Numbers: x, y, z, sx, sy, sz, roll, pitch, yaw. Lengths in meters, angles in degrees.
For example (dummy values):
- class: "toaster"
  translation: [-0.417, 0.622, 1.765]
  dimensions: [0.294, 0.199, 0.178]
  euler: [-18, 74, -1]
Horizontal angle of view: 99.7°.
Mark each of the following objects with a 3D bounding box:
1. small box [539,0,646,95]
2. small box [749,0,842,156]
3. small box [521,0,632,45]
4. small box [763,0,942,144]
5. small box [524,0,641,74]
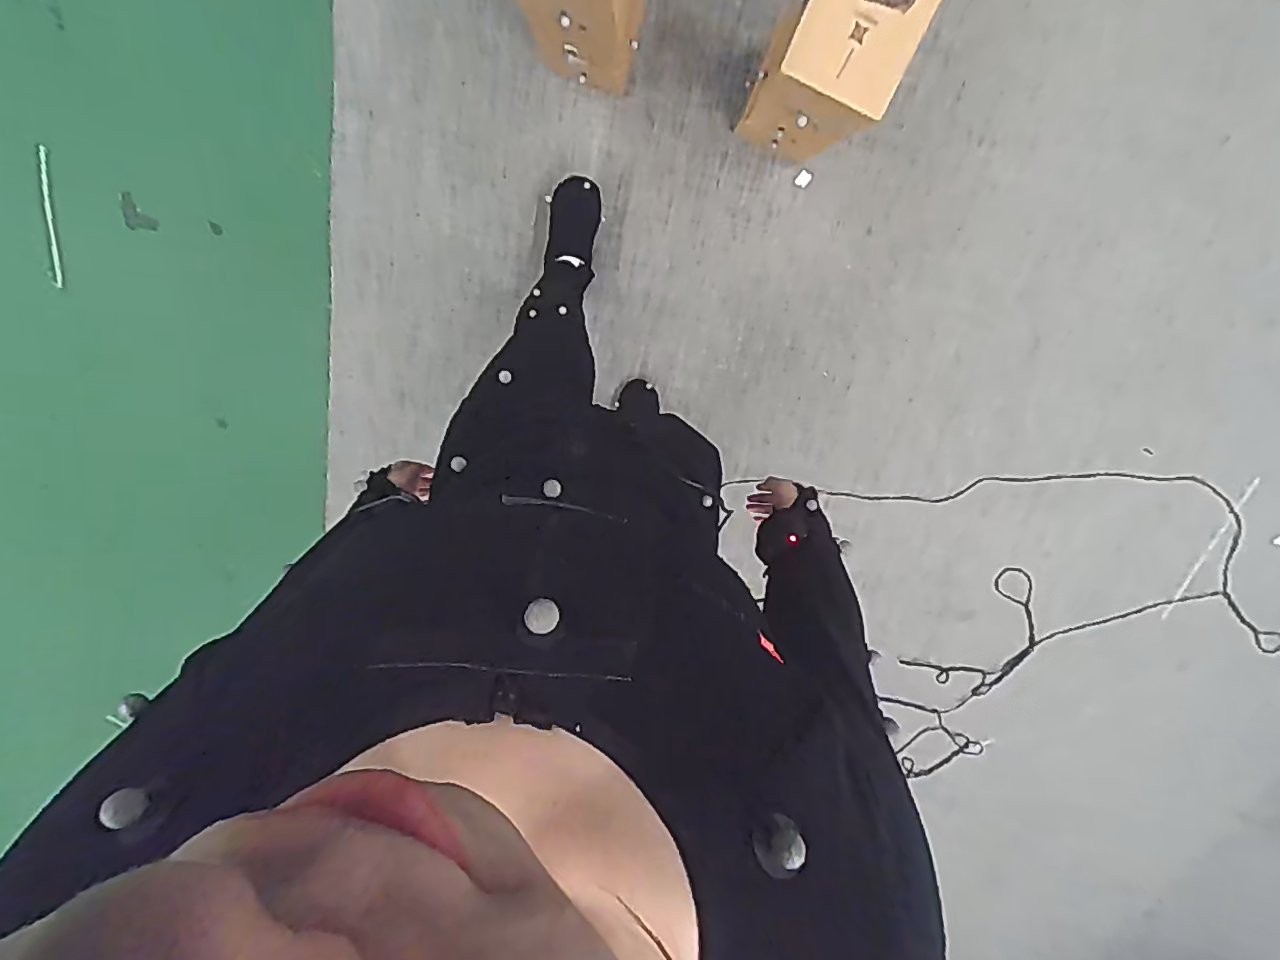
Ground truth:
- class: "small box"
  translation: [-0.087, -0.904, 1.073]
  dimensions: [0.168, 0.176, 0.179]
  euler: [17, 112, -6]
- class: "small box"
  translation: [0.310, -0.716, 0.968]
  dimensions: [0.168, 0.176, 0.179]
  euler: [20, 112, -7]
- class: "small box"
  translation: [-0.089, -0.774, 0.772]
  dimensions: [0.168, 0.176, 0.179]
  euler: [14, 112, -3]
- class: "small box"
  translation: [0.304, -0.646, 0.819]
  dimensions: [0.168, 0.176, 0.179]
  euler: [22, 113, -8]
- class: "small box"
  translation: [-0.087, -0.841, 0.923]
  dimensions: [0.168, 0.176, 0.179]
  euler: [14, 113, -4]
